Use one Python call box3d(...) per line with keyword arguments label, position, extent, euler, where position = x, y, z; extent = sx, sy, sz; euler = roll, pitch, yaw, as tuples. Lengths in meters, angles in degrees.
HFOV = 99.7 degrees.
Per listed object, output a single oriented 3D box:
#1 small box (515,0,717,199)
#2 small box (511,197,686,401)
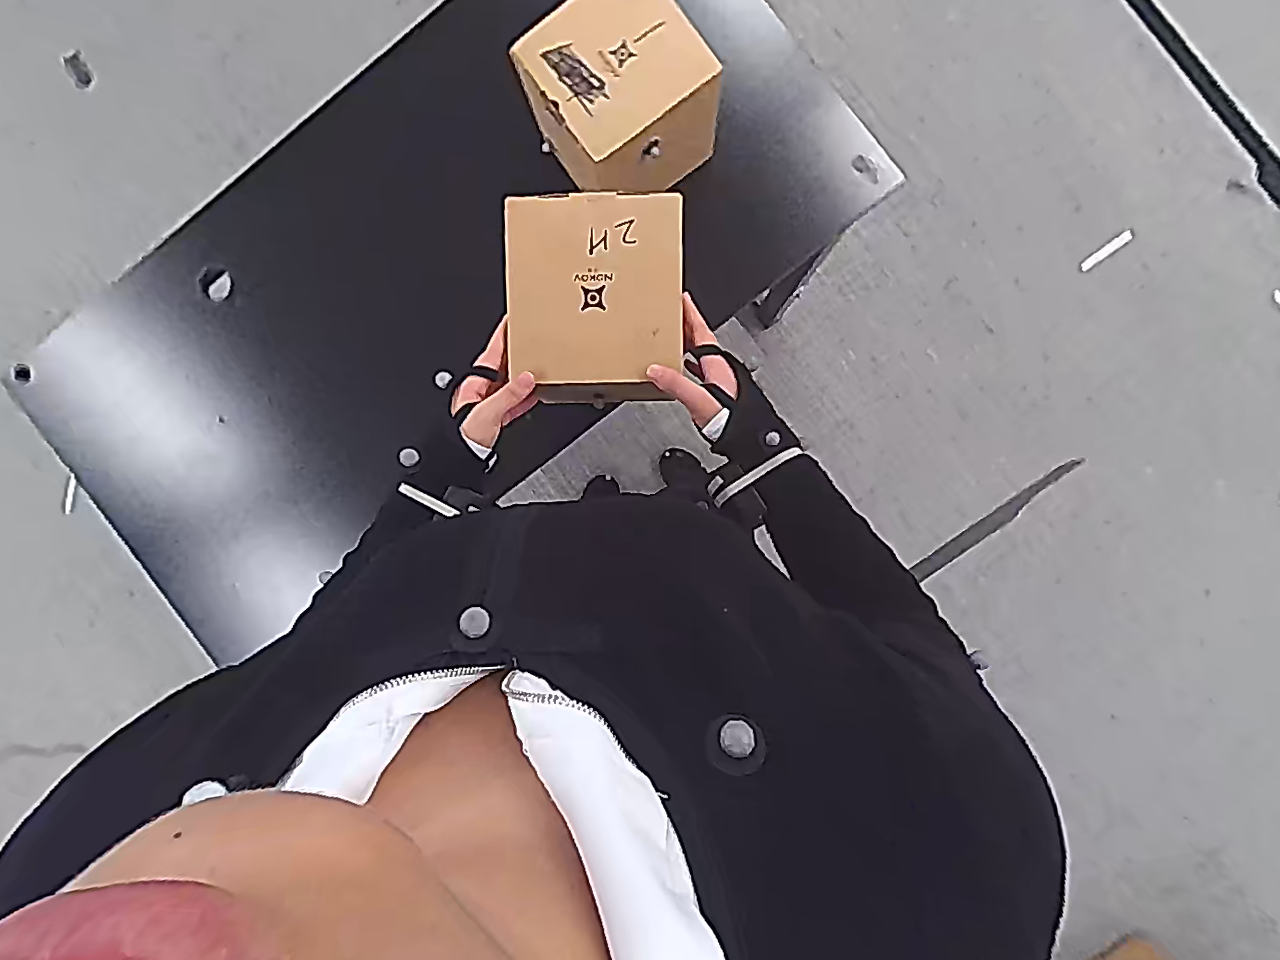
box3d(label="small box", position=(-0.023, -0.466, 0.685), extent=(0.179, 0.176, 0.168), euler=(-36, 89, 3))
box3d(label="small box", position=(-0.038, -0.181, 0.590), extent=(0.168, 0.176, 0.179), euler=(1, 91, 1))
